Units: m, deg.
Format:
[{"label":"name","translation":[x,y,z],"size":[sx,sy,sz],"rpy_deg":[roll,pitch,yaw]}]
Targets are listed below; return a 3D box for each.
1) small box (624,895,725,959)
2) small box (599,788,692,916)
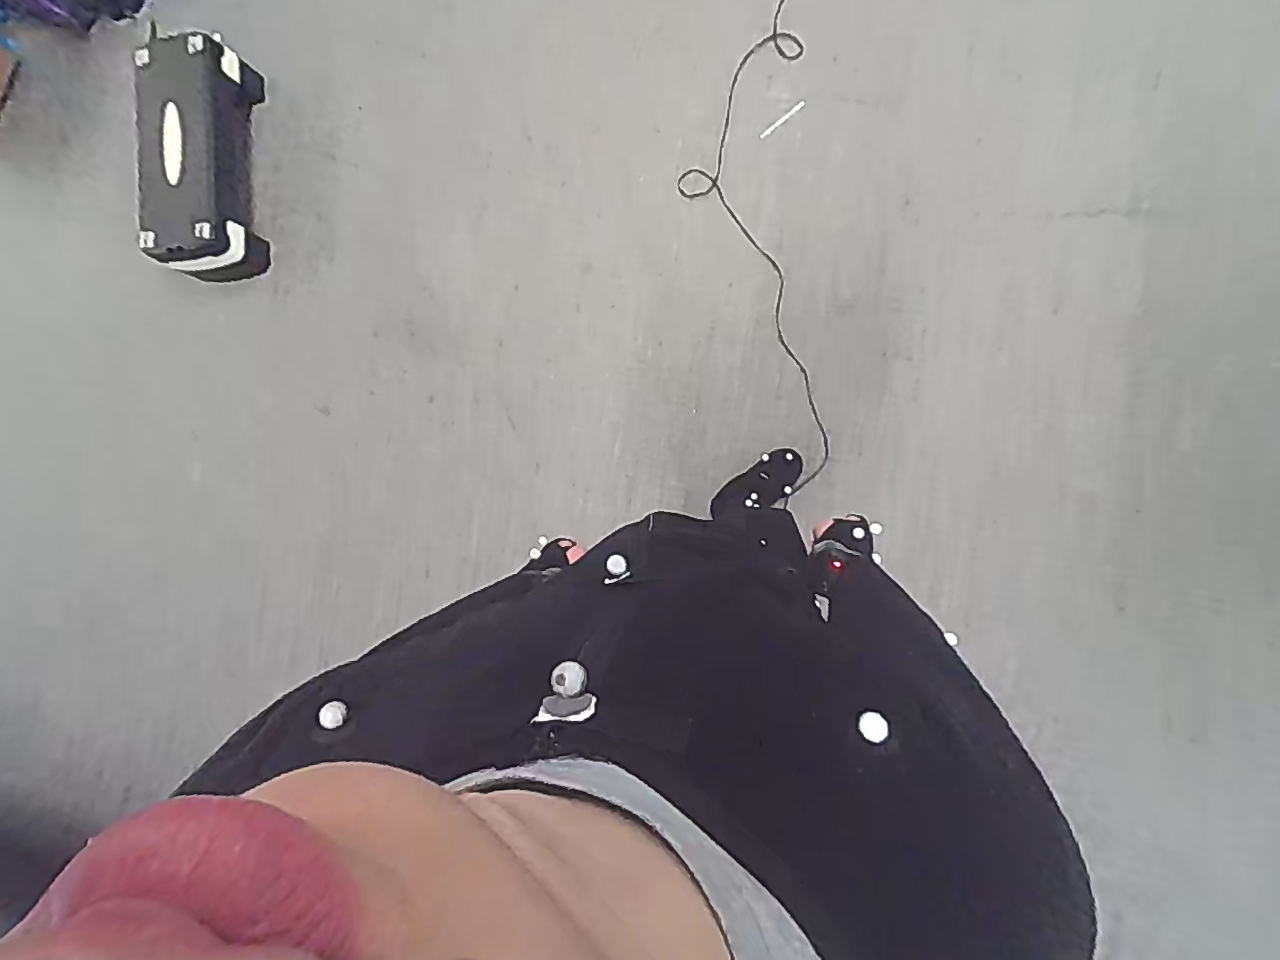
[{"label":"small box","translation":[0.059,0.918,0.996],"size":[0.179,0.176,0.168],"rpy_deg":[8,92,9]},{"label":"small box","translation":[0.018,0.801,1.171],"size":[0.179,0.176,0.168],"rpy_deg":[3,91,11]}]
